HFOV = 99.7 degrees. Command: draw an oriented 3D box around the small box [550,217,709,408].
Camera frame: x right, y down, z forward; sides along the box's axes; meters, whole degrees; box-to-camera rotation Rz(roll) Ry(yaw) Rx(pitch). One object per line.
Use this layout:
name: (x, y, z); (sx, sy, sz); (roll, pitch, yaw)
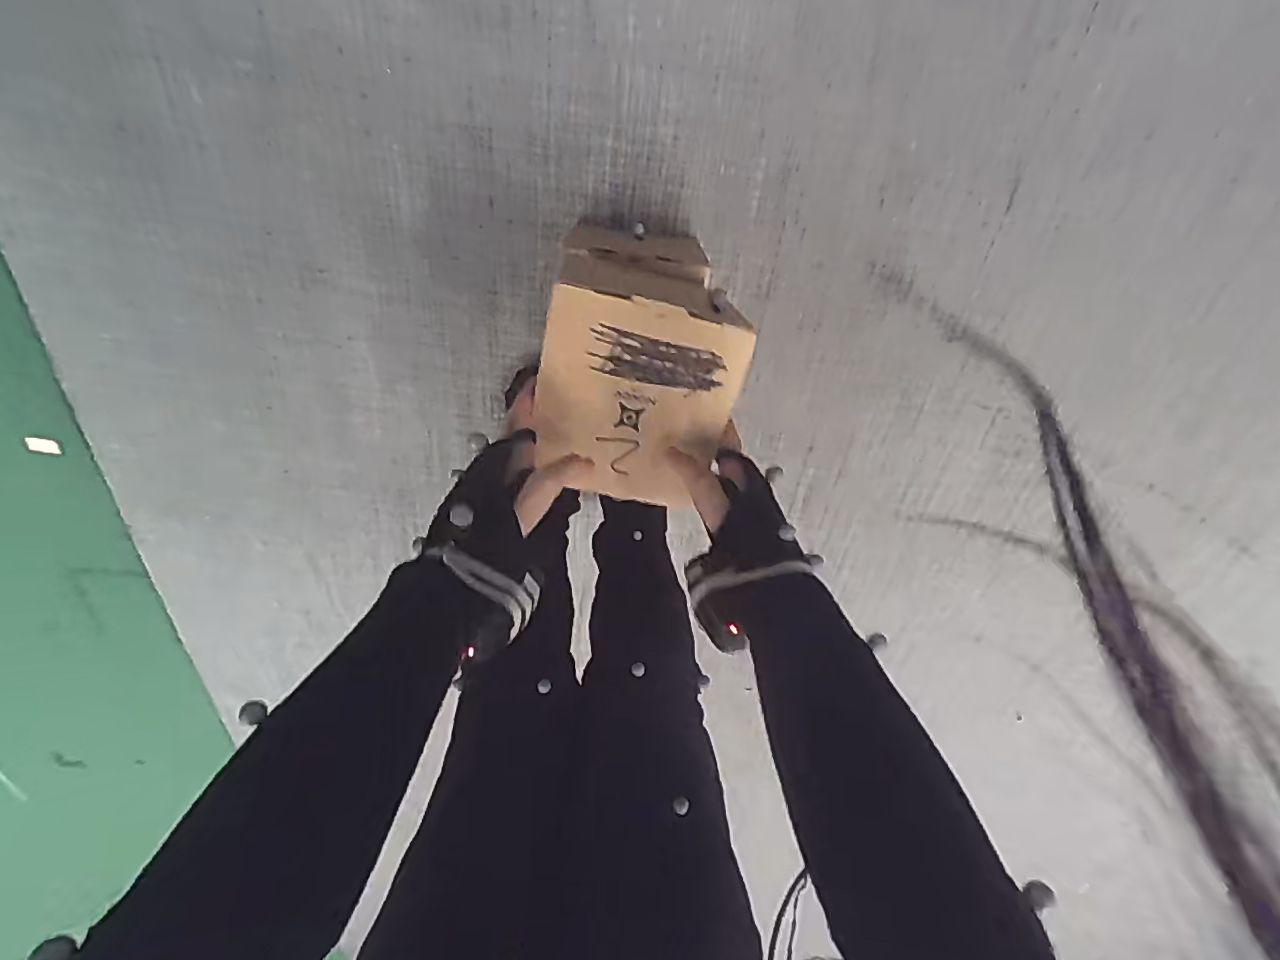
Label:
small box: (-0.016, -0.216, 0.687); (0.168, 0.176, 0.179); (7, 124, -4)
